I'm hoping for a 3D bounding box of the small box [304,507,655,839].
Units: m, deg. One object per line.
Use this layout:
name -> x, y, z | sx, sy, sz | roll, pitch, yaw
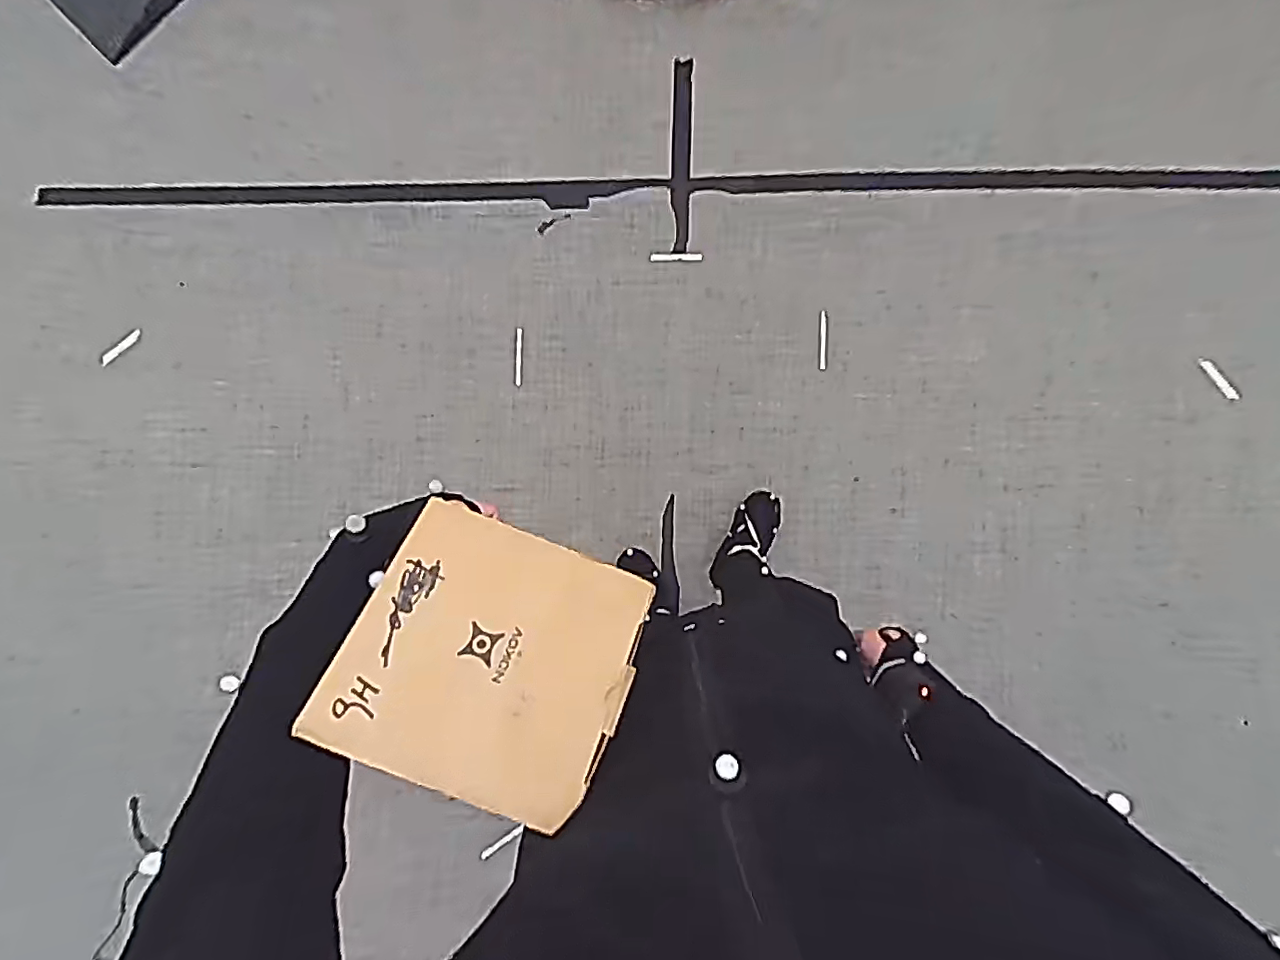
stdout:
small box -> -0.110, 0.151, 0.428 | 0.179, 0.176, 0.168 | 22, 61, -2
